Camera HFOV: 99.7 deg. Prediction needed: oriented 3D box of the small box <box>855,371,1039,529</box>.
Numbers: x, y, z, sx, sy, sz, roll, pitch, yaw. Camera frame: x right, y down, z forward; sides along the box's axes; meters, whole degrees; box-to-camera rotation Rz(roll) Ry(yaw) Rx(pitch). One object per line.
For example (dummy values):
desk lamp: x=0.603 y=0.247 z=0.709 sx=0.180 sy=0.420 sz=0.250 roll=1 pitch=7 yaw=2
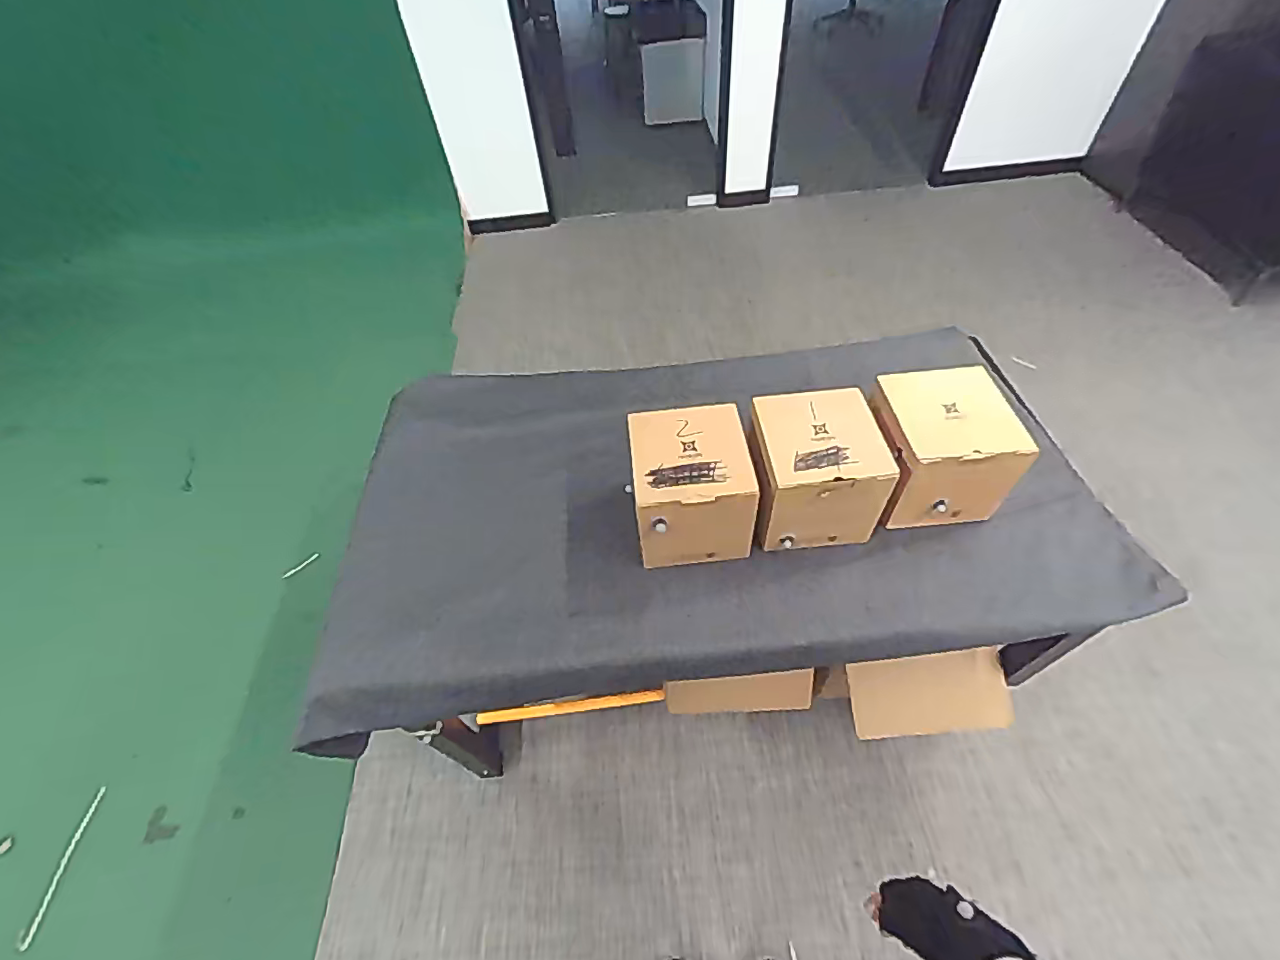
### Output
small box: x=0.454 y=-0.045 z=0.840 sx=0.168 sy=0.176 sz=0.179 roll=-5 pitch=52 yaw=1
